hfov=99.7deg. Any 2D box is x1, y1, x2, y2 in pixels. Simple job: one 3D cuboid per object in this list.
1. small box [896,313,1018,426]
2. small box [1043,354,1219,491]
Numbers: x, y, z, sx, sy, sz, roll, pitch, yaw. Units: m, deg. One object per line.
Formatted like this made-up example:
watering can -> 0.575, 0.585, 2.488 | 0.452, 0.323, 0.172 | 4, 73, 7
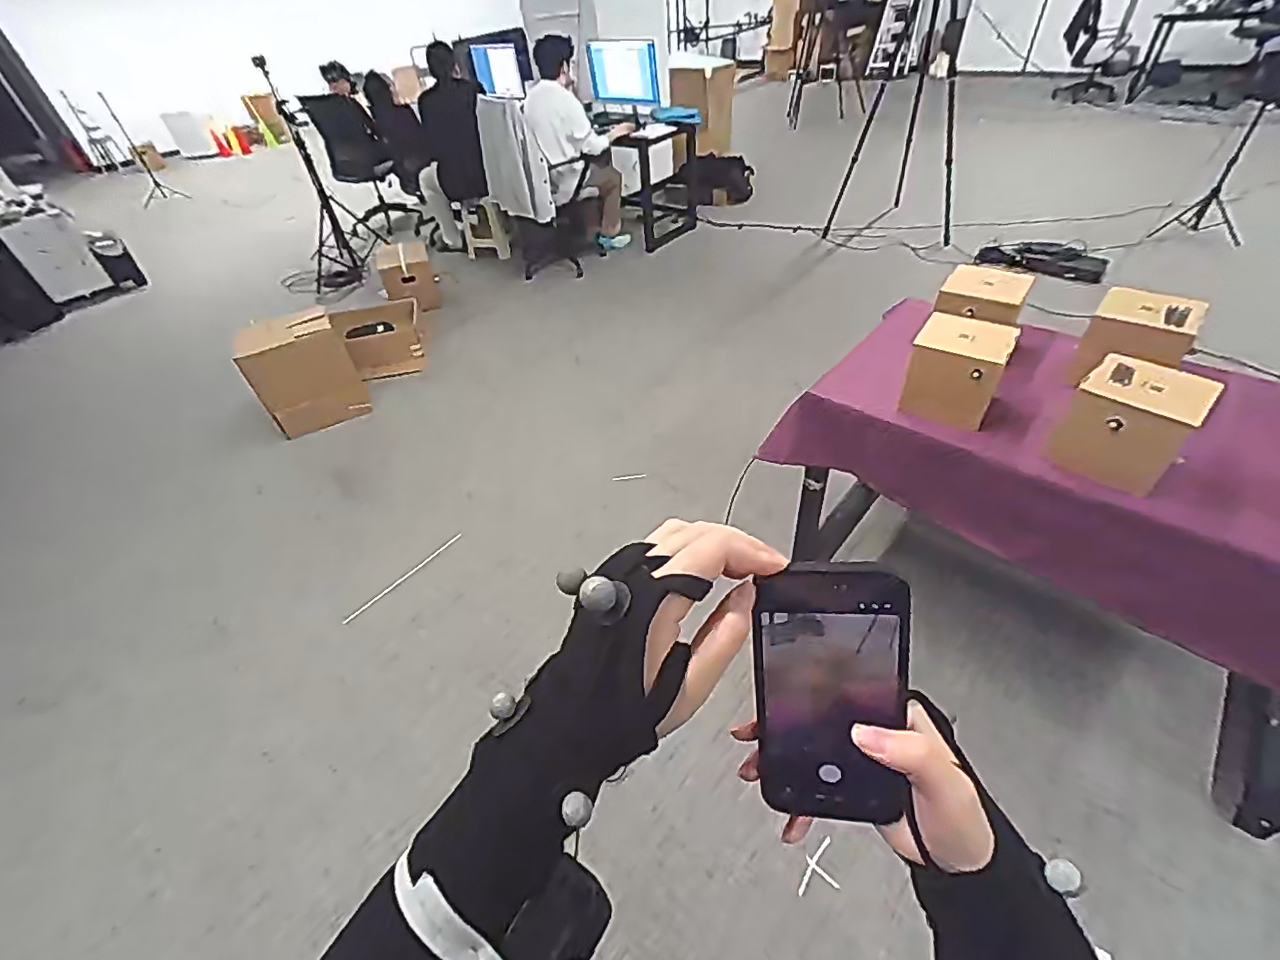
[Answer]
small box -> 0.694, -0.245, 1.200 | 0.179, 0.176, 0.168 | 25, 51, 27
small box -> 0.917, -0.108, 1.025 | 0.168, 0.176, 0.179 | -34, 50, -26
